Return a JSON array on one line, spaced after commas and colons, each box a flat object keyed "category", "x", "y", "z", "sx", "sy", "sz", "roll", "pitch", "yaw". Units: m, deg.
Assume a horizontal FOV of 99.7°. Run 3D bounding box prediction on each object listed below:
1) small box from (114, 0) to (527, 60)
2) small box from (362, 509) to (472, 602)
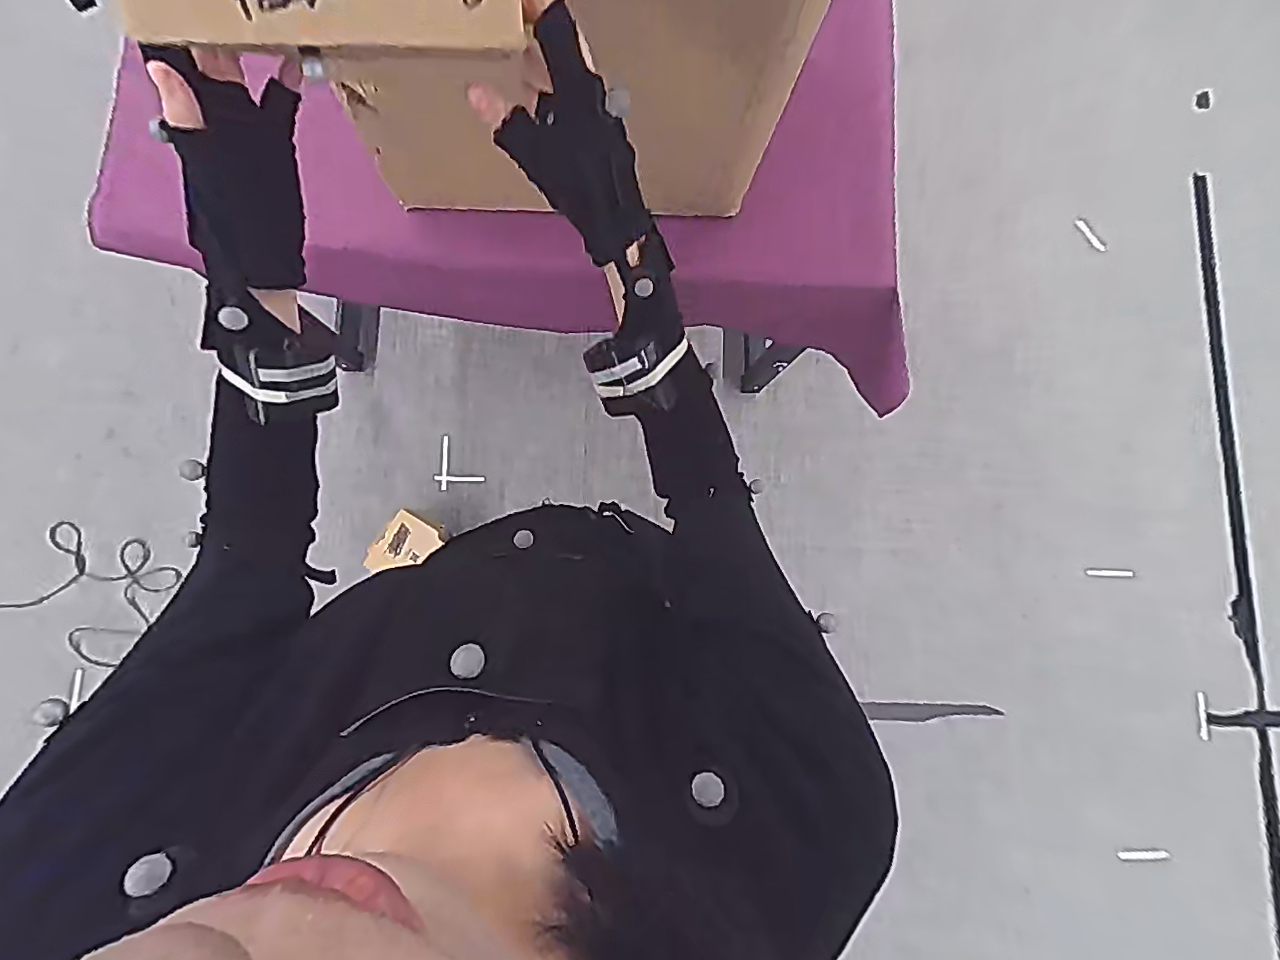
[{"category": "small box", "x": -0.147, "y": -0.310, "z": 0.247, "sx": 0.168, "sy": 0.176, "sz": 0.179, "roll": -7, "pitch": 126, "yaw": -10}, {"category": "small box", "x": -0.561, "y": 0.192, "z": 1.388, "sx": 0.179, "sy": 0.176, "sz": 0.168, "roll": 33, "pitch": 82, "yaw": -2}]
